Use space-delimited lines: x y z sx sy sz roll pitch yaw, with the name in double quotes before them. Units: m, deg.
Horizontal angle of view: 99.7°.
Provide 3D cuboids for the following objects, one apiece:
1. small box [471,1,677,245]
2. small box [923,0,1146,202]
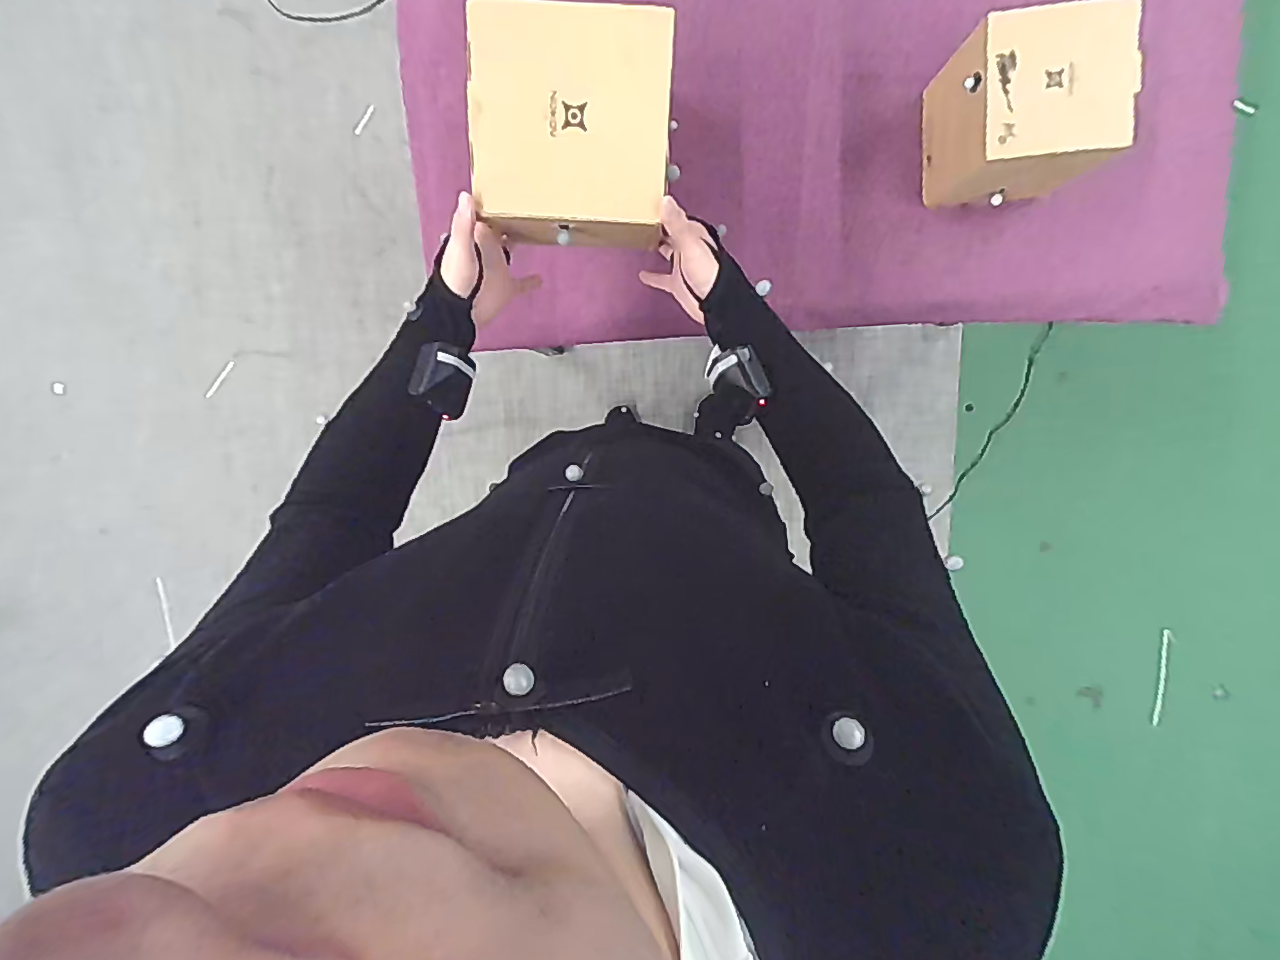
"small box" -0.057 -0.340 0.550 0.179 0.176 0.168 3 107 1
"small box" 0.509 -0.490 0.722 0.179 0.176 0.168 -3 98 4
